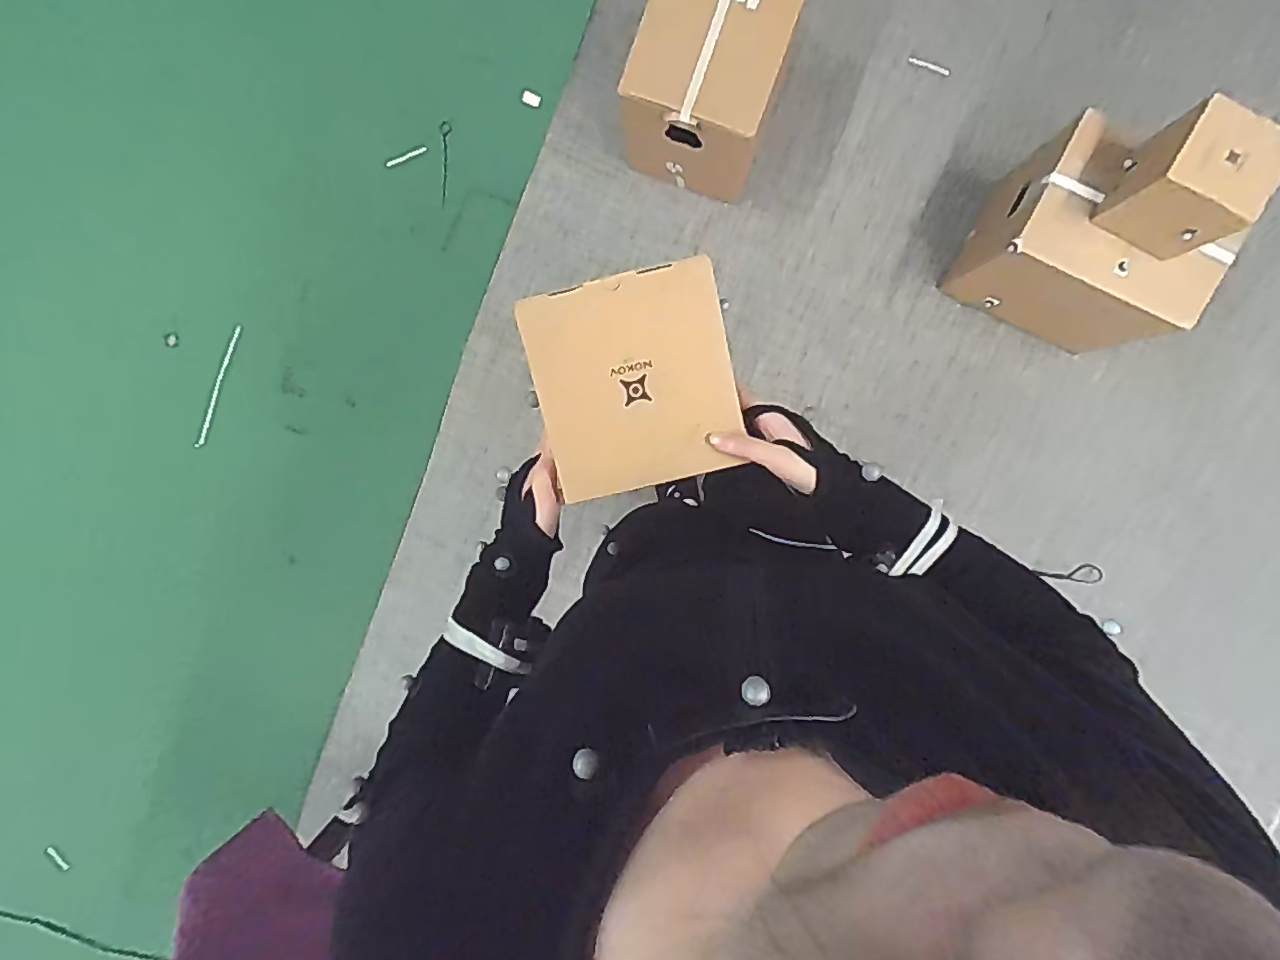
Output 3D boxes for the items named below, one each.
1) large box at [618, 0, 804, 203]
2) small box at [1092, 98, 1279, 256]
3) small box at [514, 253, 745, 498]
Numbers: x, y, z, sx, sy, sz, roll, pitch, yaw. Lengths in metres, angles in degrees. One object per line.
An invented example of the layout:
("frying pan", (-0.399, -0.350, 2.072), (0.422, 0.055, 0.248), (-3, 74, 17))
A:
("large box", (0.169, -0.958, 1.283), (0.320, 0.320, 0.408), (20, 93, 2))
("small box", (1.019, -0.548, 1.009), (0.179, 0.176, 0.168), (30, 92, 1))
("small box", (-0.005, -0.099, 0.530), (0.168, 0.176, 0.179), (-13, 100, 2))
